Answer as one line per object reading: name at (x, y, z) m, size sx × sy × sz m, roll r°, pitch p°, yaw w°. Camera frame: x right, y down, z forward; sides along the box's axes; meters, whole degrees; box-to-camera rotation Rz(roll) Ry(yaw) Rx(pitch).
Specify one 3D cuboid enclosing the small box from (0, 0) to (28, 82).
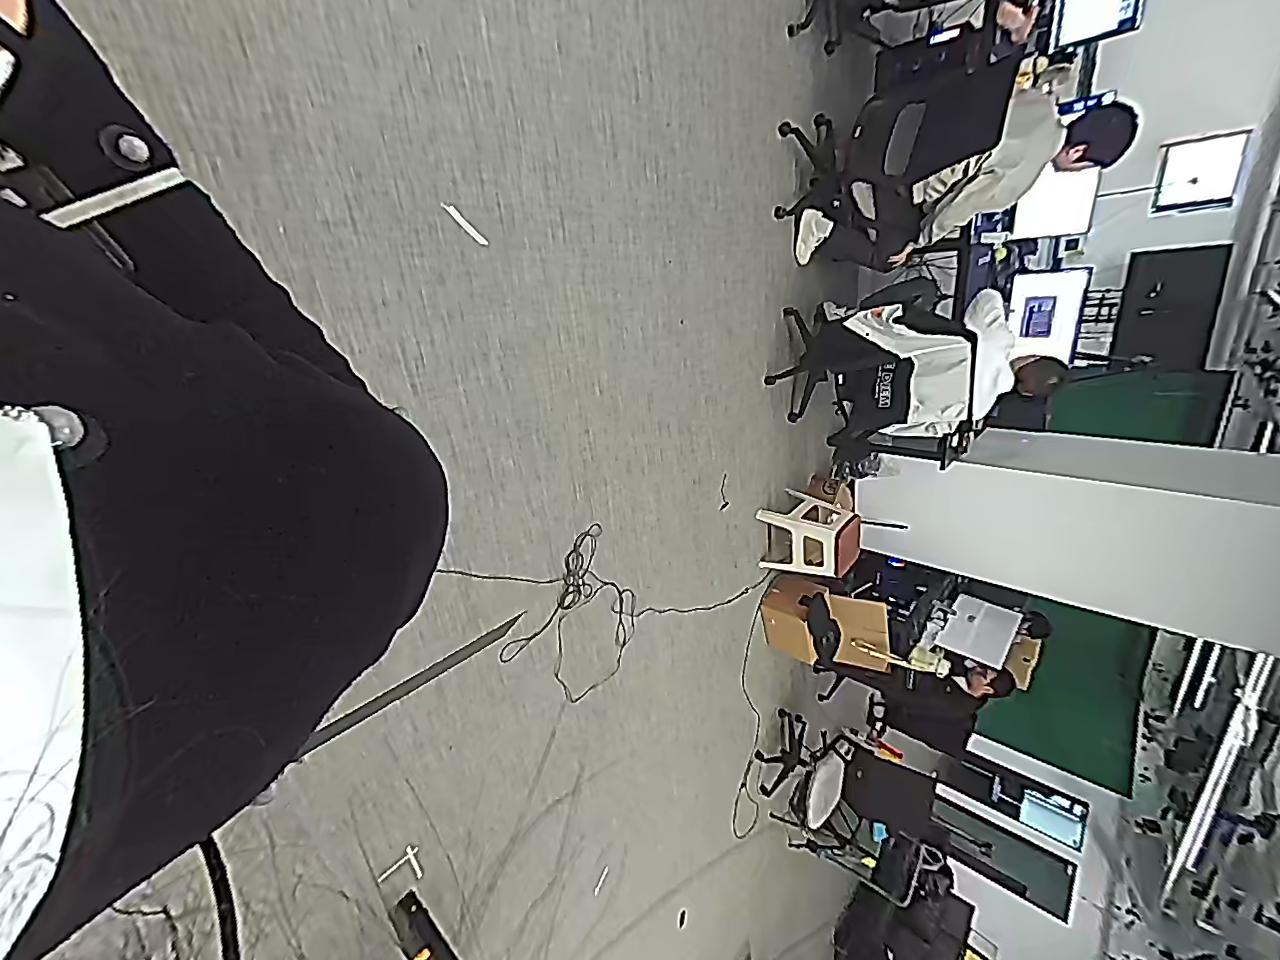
small box at (-0.633, -0.444, 0.416) m, size 0.168 × 0.176 × 0.179 m, roll -27°, pitch 120°, yaw -44°
